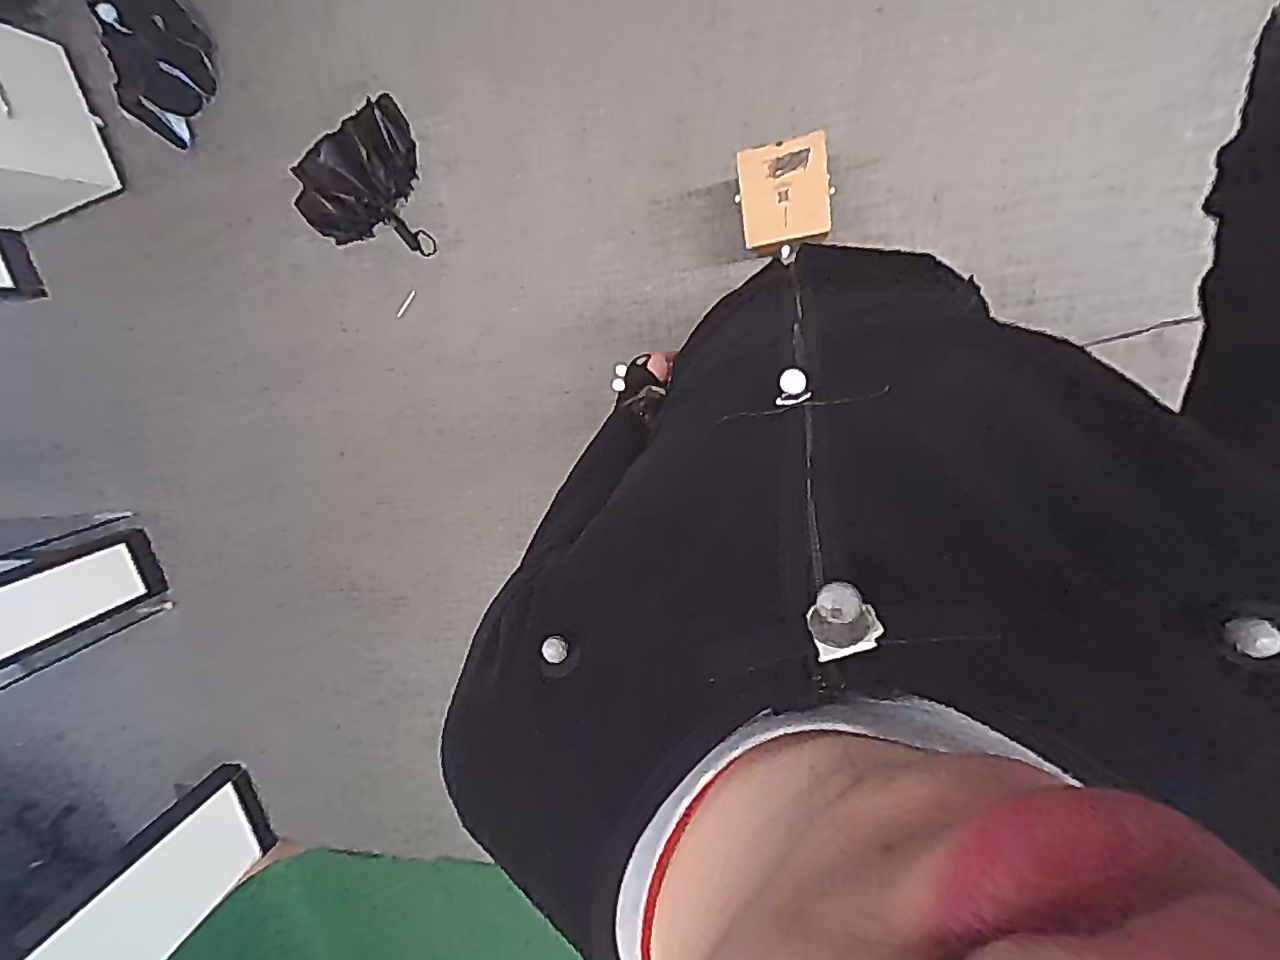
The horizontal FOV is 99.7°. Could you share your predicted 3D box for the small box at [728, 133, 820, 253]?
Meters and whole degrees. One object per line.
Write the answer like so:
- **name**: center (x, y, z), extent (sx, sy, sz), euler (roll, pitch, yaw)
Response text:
- **small box**: center (0.278, -0.582, 1.119), extent (0.168, 0.176, 0.179), euler (-4, 108, 16)
